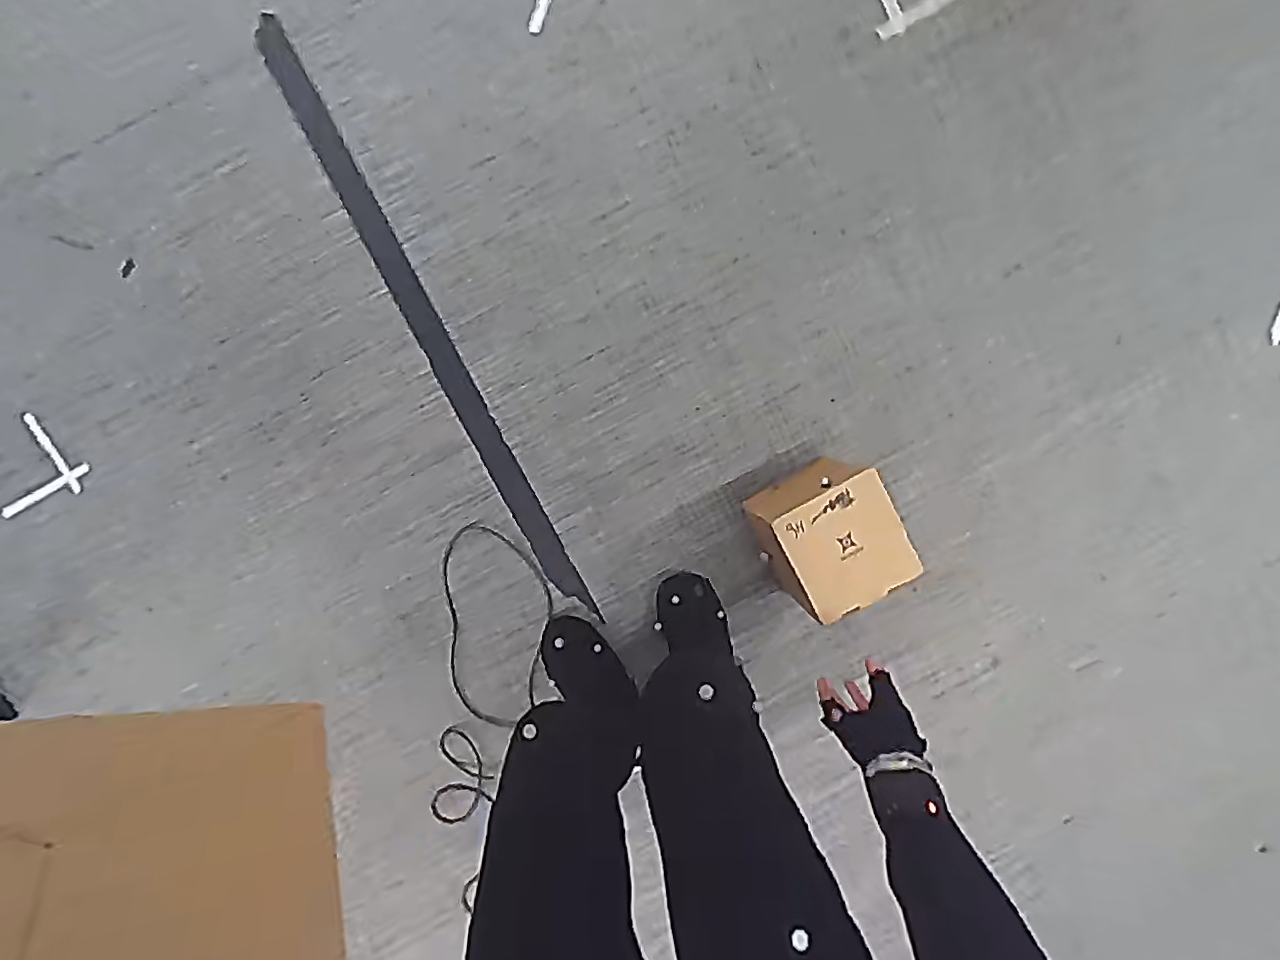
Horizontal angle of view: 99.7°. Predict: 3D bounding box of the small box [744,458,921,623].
[{"bbox_3d":[0.284,0.081,0.830,0.168,0.176,0.179,-29,98,1],"label":"small box"}]
